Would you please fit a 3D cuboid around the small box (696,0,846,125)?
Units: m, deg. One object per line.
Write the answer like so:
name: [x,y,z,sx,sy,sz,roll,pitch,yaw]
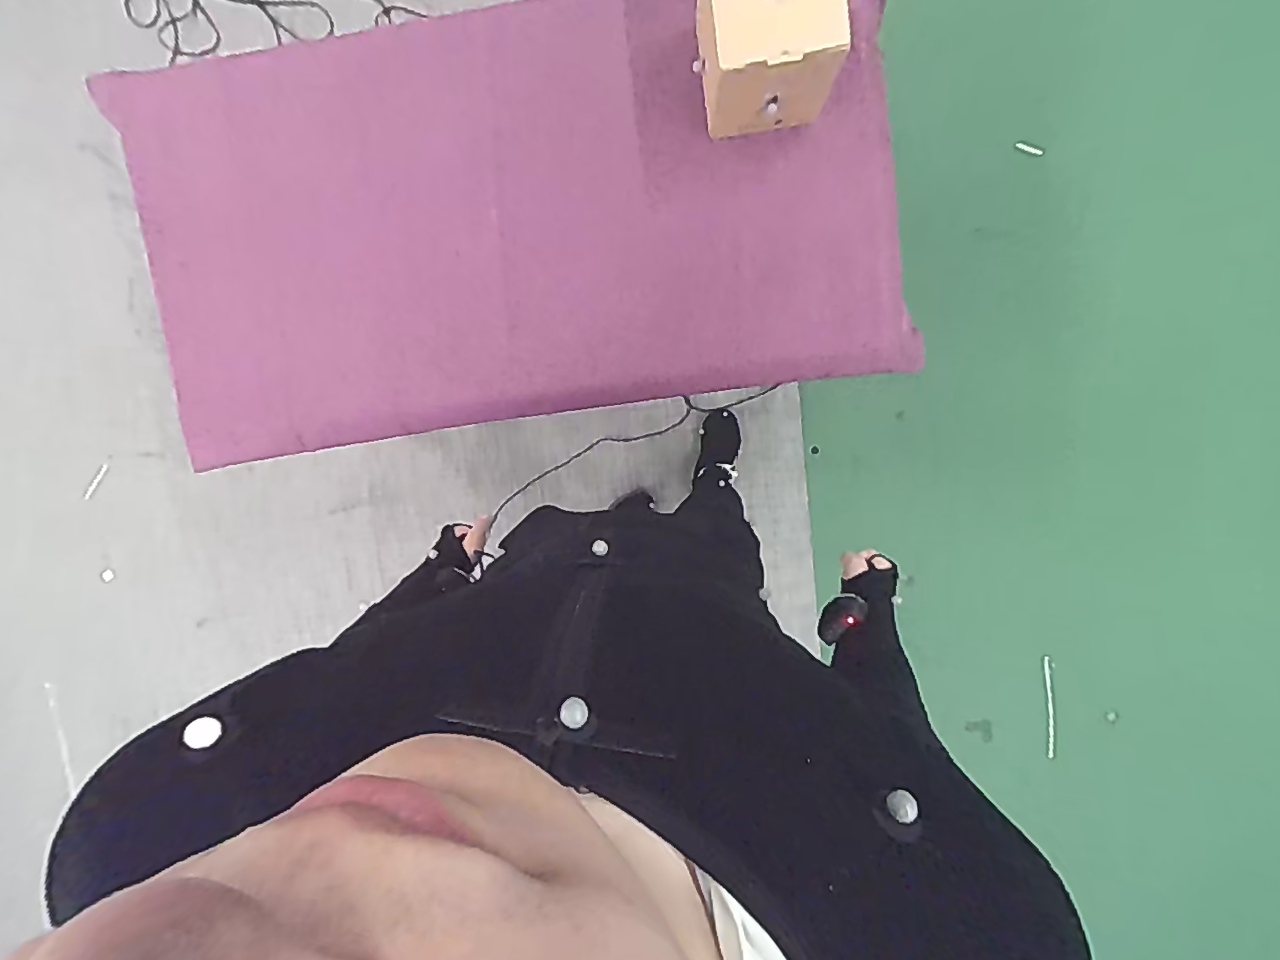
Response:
small box: [0.170,-0.623,0.744,0.168,0.176,0.179,-8,96,4]
